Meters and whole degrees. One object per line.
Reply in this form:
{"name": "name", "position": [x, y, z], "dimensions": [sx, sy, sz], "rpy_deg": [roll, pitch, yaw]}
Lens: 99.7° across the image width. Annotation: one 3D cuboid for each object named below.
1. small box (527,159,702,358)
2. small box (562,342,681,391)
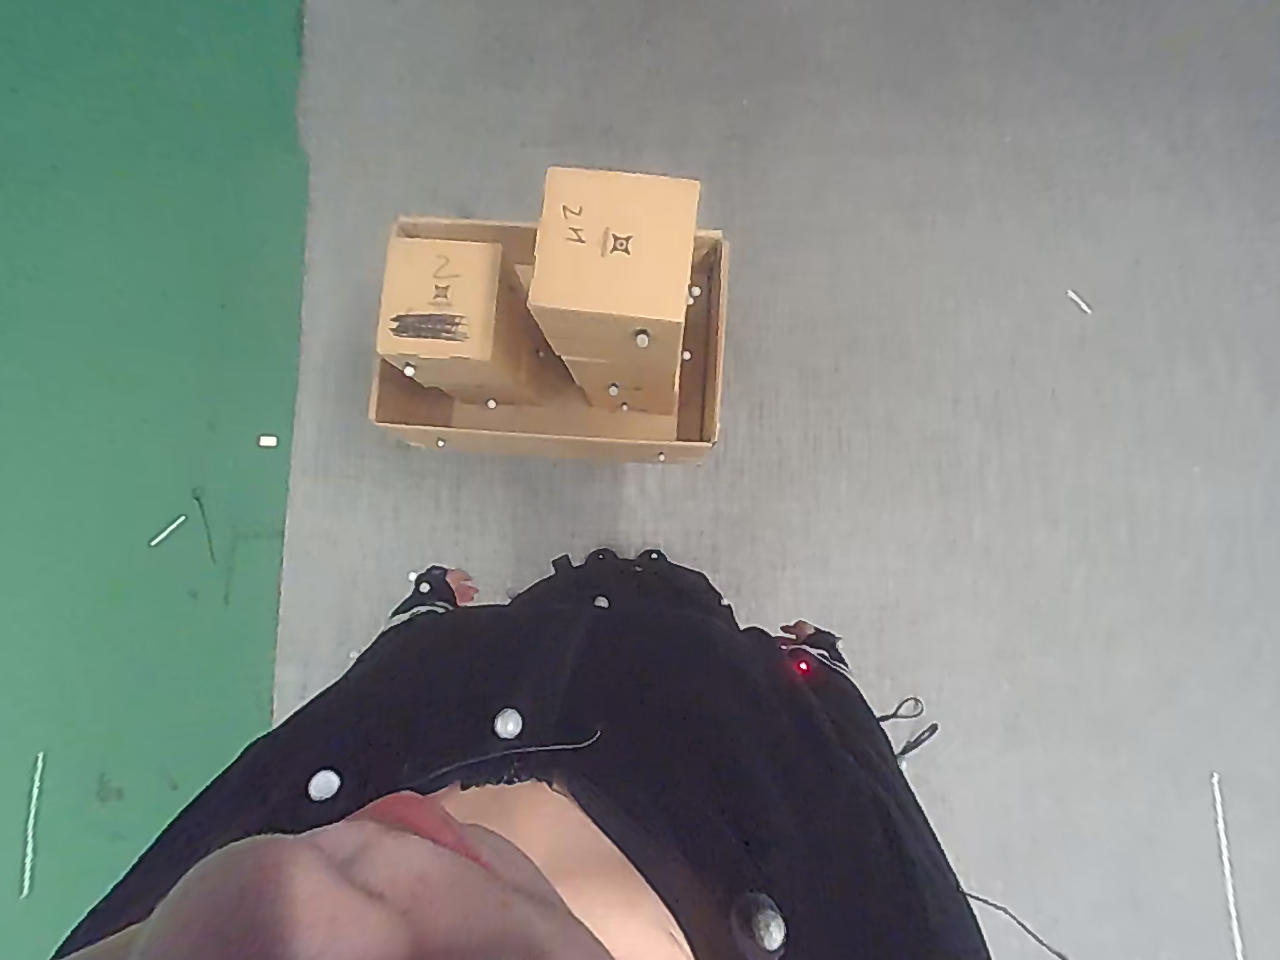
{"name": "small box", "position": [-0.024, -0.261, 0.674], "dimensions": [0.179, 0.176, 0.168], "rpy_deg": [7, 85, 5]}
{"name": "small box", "position": [-0.017, -0.251, 0.839], "dimensions": [0.168, 0.176, 0.179], "rpy_deg": [6, 86, 3]}
